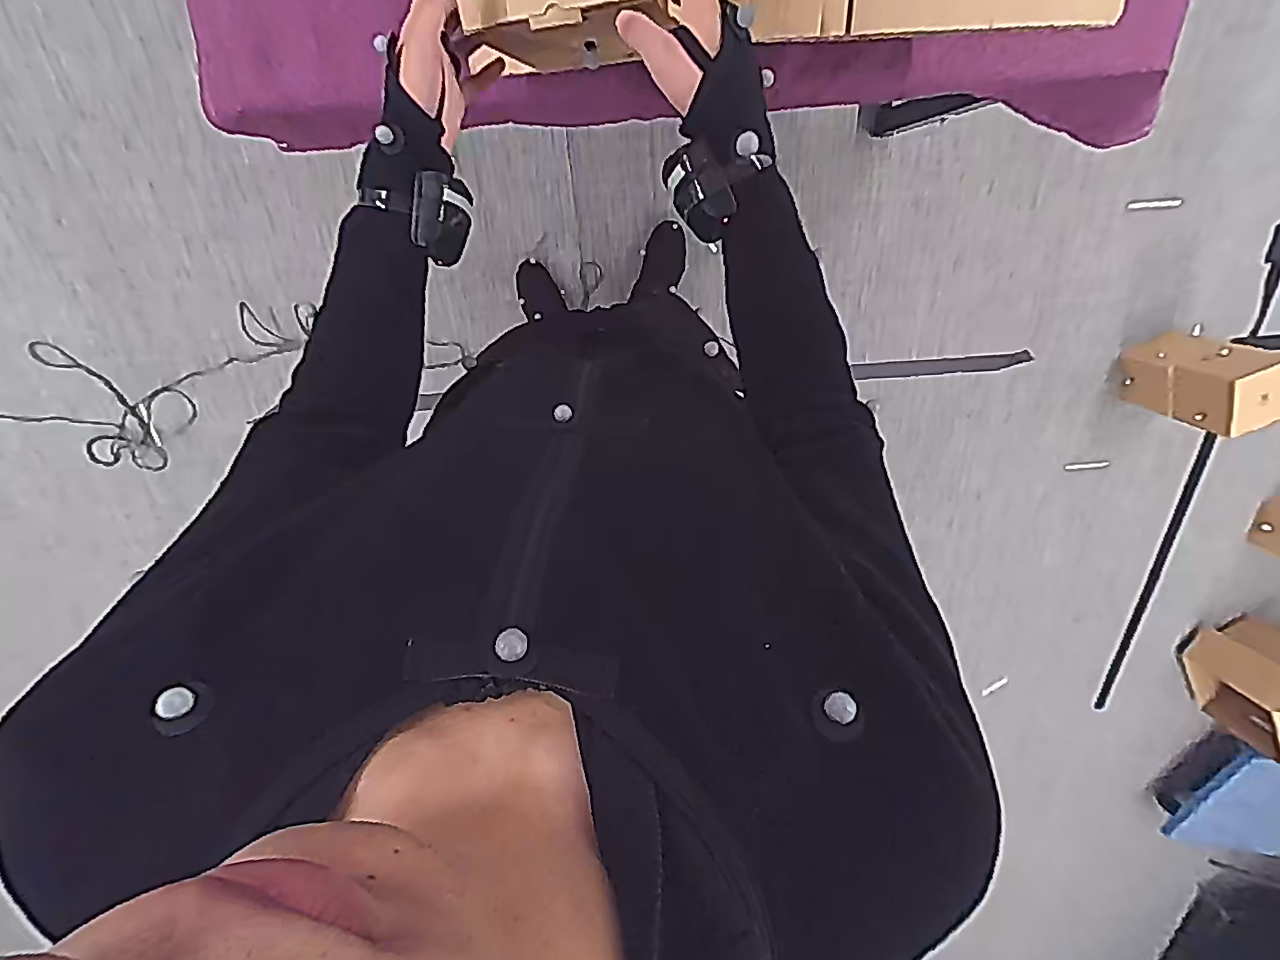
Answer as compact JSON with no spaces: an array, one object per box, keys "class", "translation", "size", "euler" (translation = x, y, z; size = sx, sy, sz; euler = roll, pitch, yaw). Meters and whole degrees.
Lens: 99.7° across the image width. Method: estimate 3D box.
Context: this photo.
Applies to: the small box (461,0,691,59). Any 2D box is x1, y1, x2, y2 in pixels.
[{"class":"small box","translation":[-0.051,-0.480,0.457],"size":[0.168,0.176,0.179],"euler":[3,118,14]}]
